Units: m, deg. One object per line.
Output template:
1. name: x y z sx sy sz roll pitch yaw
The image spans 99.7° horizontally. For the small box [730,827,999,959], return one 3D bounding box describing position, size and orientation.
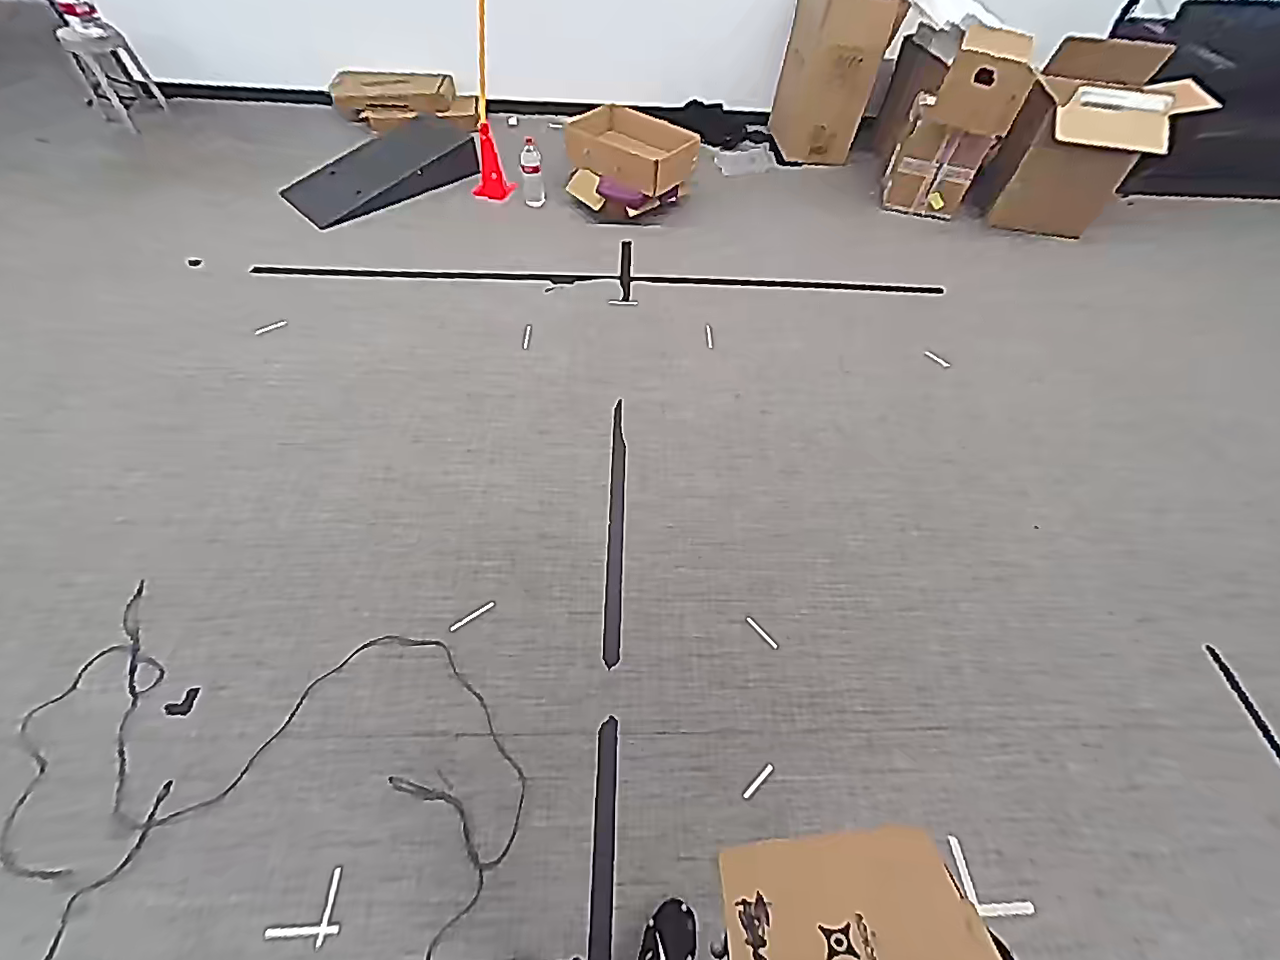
1. small box: 0.173 0.407 0.410 0.179 0.176 0.168 -10 15 6
